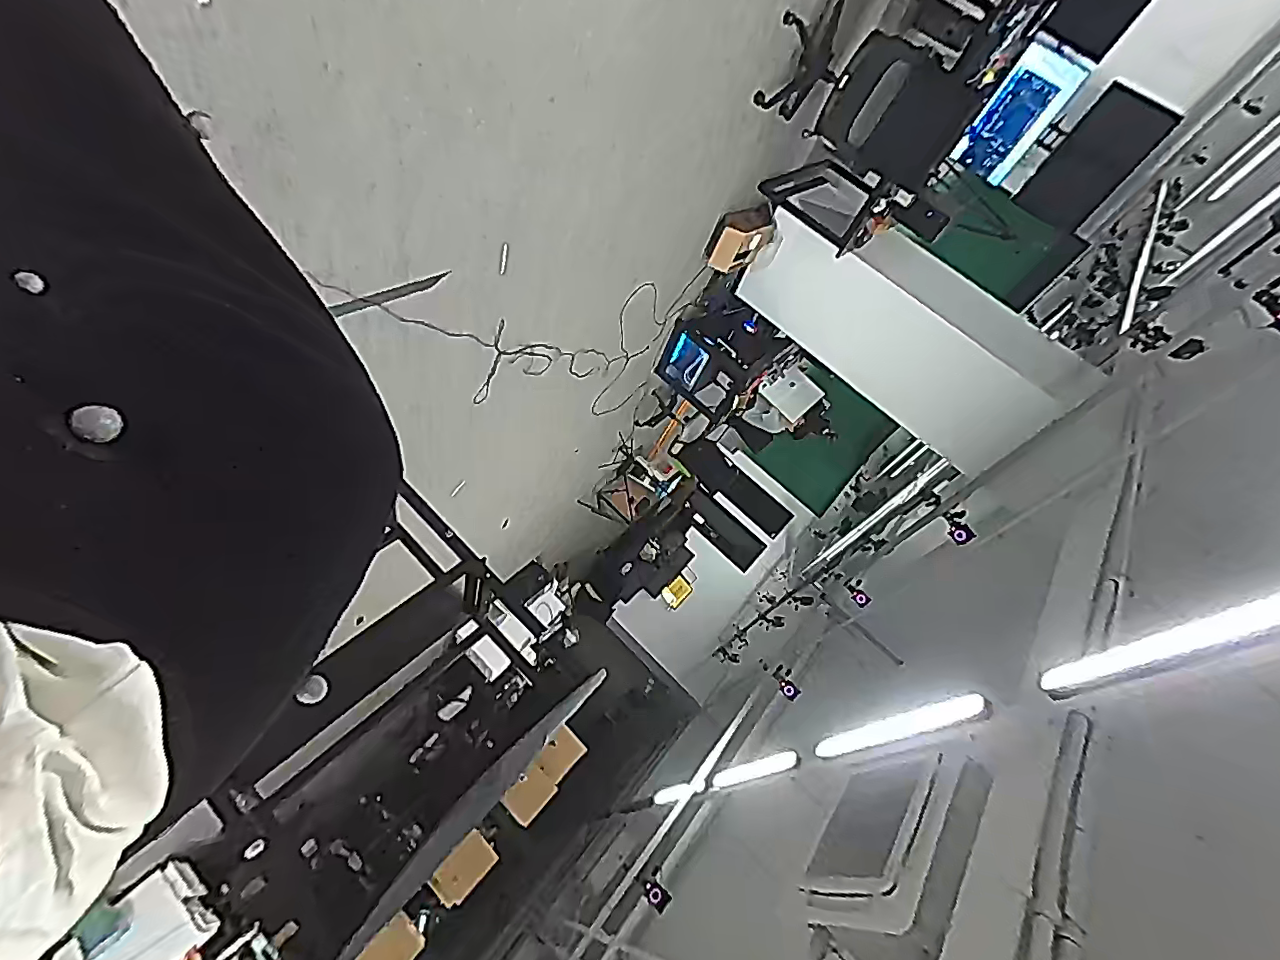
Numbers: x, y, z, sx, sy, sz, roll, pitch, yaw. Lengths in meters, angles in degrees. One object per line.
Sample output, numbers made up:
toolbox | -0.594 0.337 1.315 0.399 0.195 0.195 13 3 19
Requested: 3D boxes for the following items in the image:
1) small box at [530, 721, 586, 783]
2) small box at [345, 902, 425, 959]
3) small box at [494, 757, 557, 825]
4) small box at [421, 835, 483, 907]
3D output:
small box | -0.380 1.241 2.469 0.179 0.176 0.168 -38 165 -35
small box | -0.818 1.505 1.739 0.168 0.176 0.179 -40 168 -34
small box | -0.449 1.205 2.100 0.168 0.176 0.179 -41 168 -33
small box | -0.743 1.537 2.132 0.168 0.176 0.179 -40 166 -36
